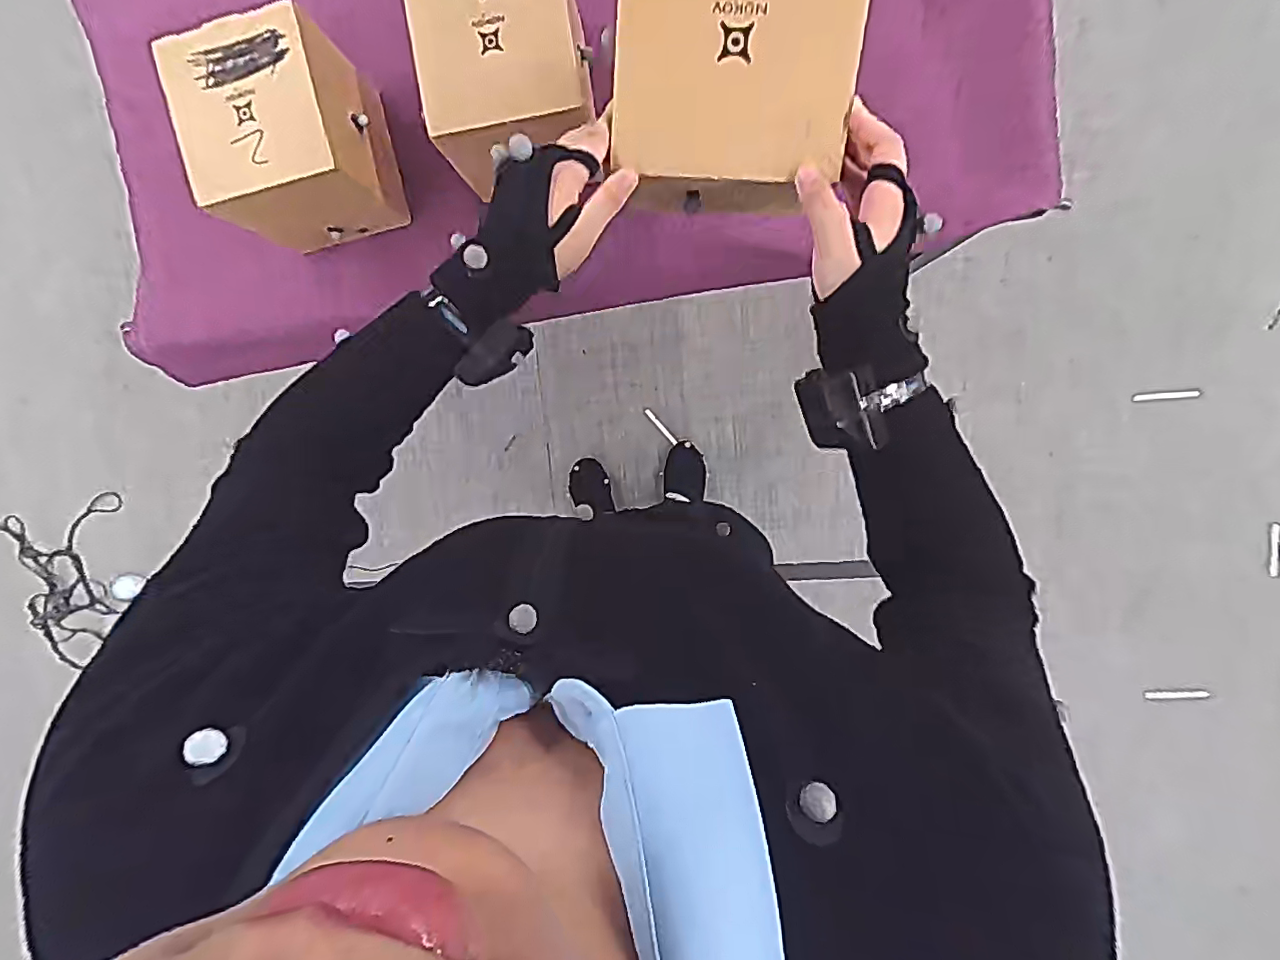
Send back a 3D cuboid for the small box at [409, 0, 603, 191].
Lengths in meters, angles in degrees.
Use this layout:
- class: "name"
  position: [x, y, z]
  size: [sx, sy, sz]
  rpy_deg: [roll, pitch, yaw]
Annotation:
- class: "small box"
  position: [-0.142, -0.459, 0.625]
  size: [0.168, 0.176, 0.179]
  rpy_deg: [-8, 95, 4]
